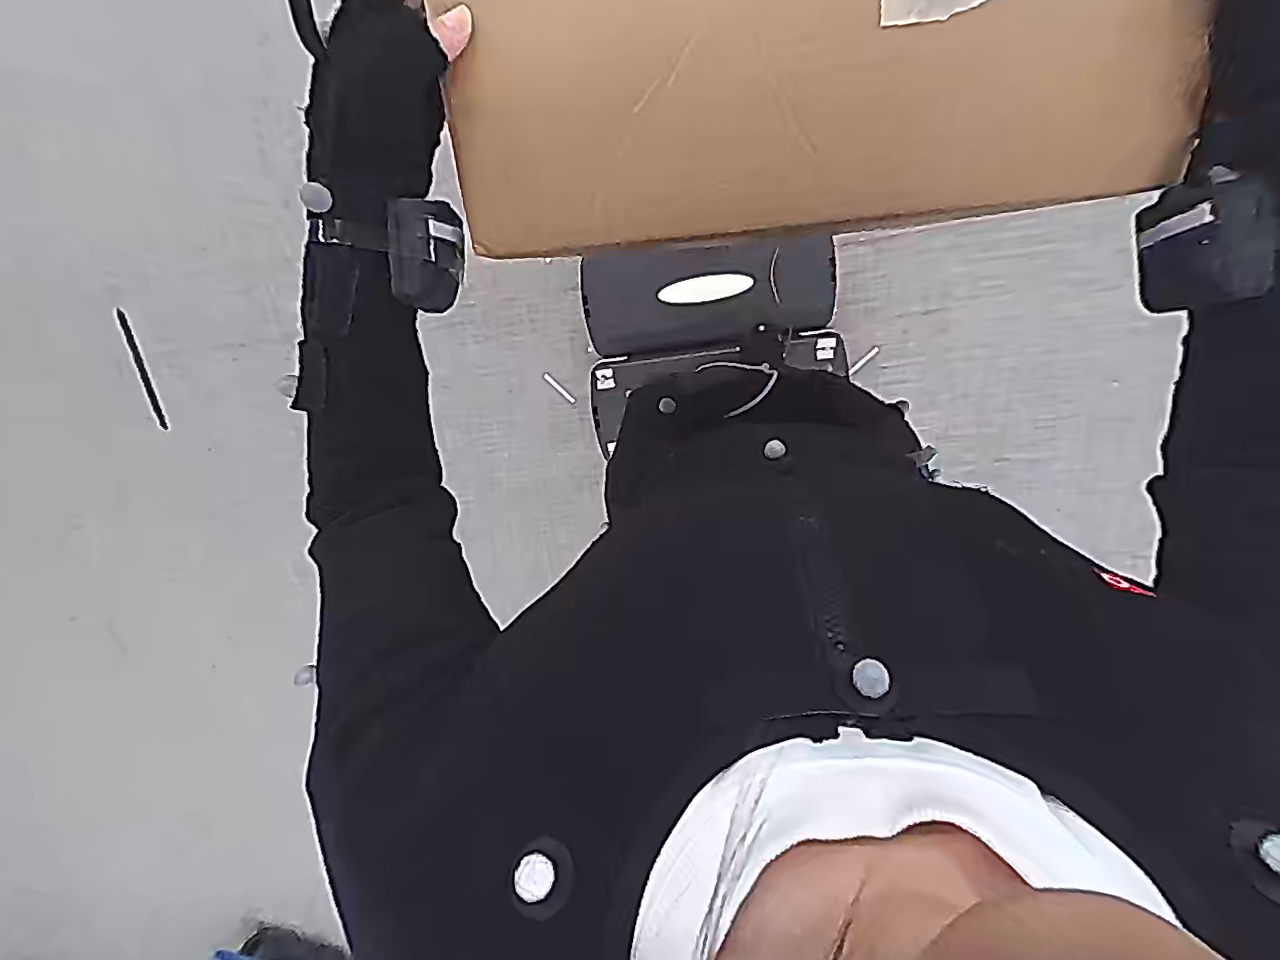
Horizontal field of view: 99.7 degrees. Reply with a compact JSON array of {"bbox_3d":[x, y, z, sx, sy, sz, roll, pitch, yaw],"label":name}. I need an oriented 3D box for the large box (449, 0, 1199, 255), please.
[{"bbox_3d":[0.099,-0.361,0.415,0.408,0.320,0.320,-2,113,8],"label":"large box"}]

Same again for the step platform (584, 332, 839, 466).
[{"bbox_3d":[0.191,-0.220,1.501,0.684,0.204,0.286,-6,105,11],"label":"step platform"}]
